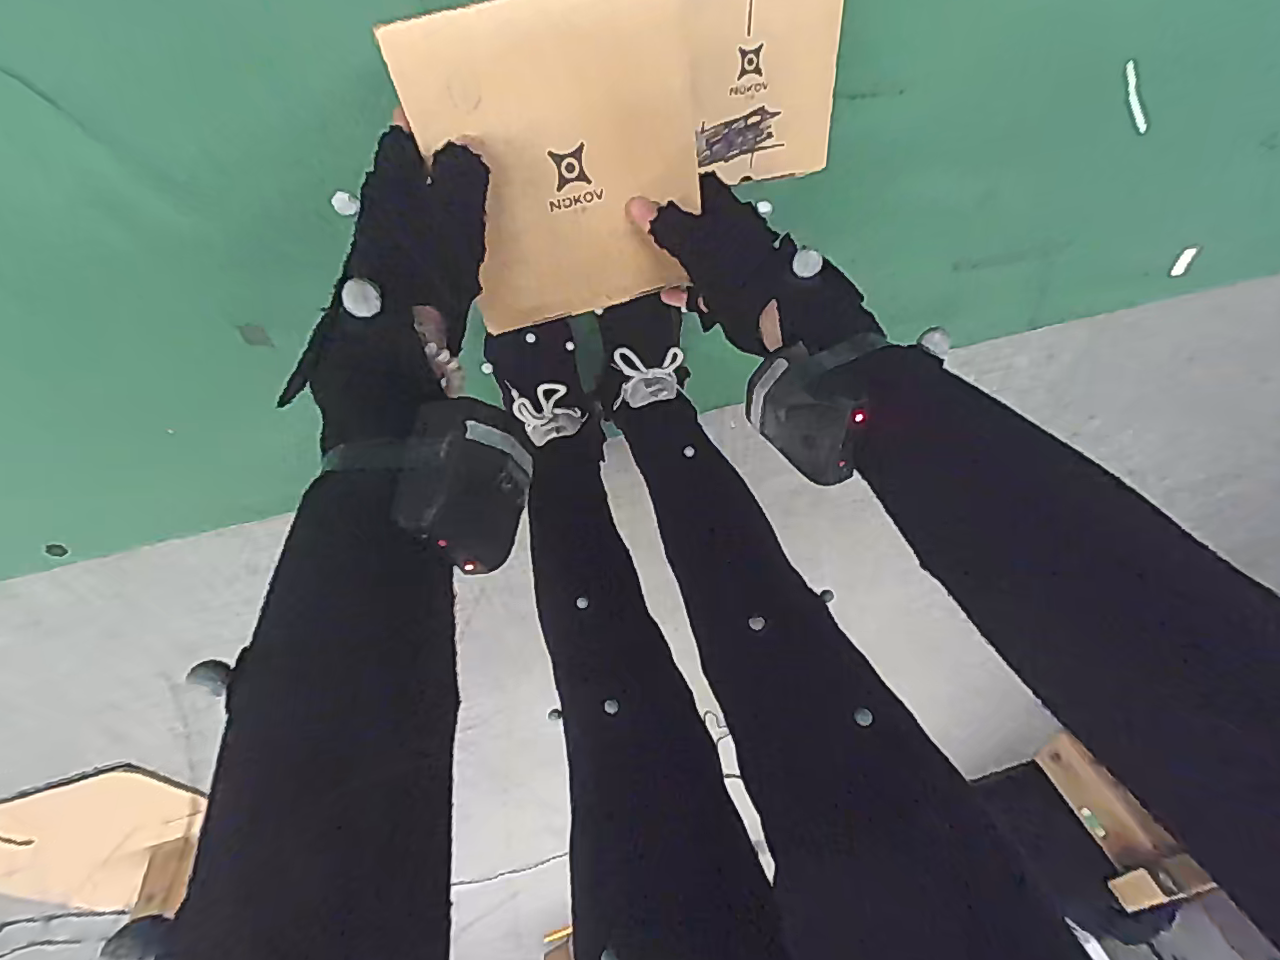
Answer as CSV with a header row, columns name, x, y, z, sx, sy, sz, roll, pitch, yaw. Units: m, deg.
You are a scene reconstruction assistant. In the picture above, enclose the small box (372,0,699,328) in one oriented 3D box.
name,x,y,z,sx,sy,sz,roll,pitch,yaw
small box,-0.067,-0.243,0.390,0.168,0.176,0.179,-17,135,-4
